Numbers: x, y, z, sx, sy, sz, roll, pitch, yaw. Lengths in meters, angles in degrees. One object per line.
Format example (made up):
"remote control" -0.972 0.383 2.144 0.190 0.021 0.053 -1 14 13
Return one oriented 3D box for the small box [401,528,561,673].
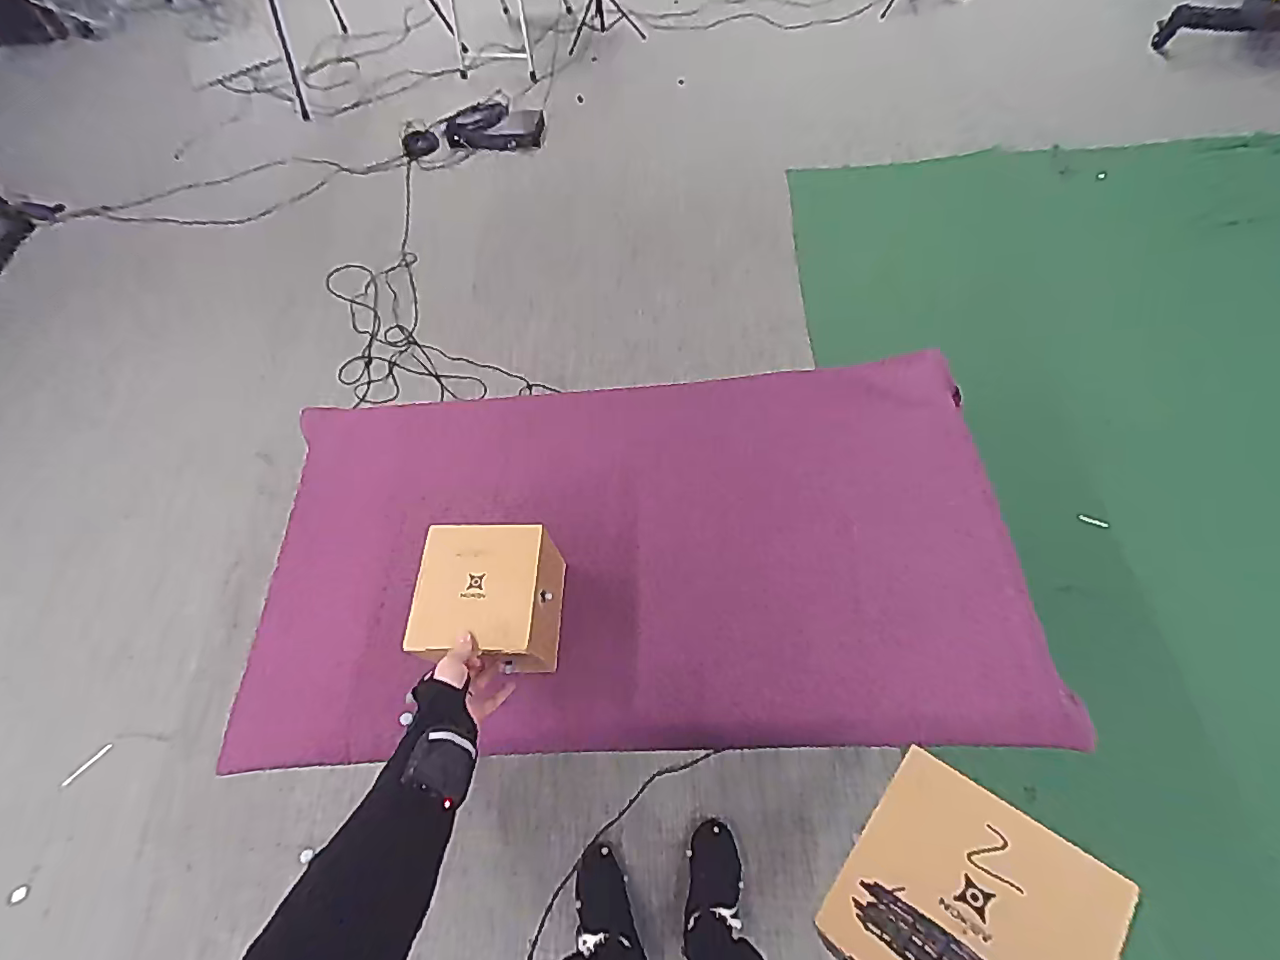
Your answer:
"small box" -0.218 0.183 0.796 0.168 0.176 0.179 0 62 4
